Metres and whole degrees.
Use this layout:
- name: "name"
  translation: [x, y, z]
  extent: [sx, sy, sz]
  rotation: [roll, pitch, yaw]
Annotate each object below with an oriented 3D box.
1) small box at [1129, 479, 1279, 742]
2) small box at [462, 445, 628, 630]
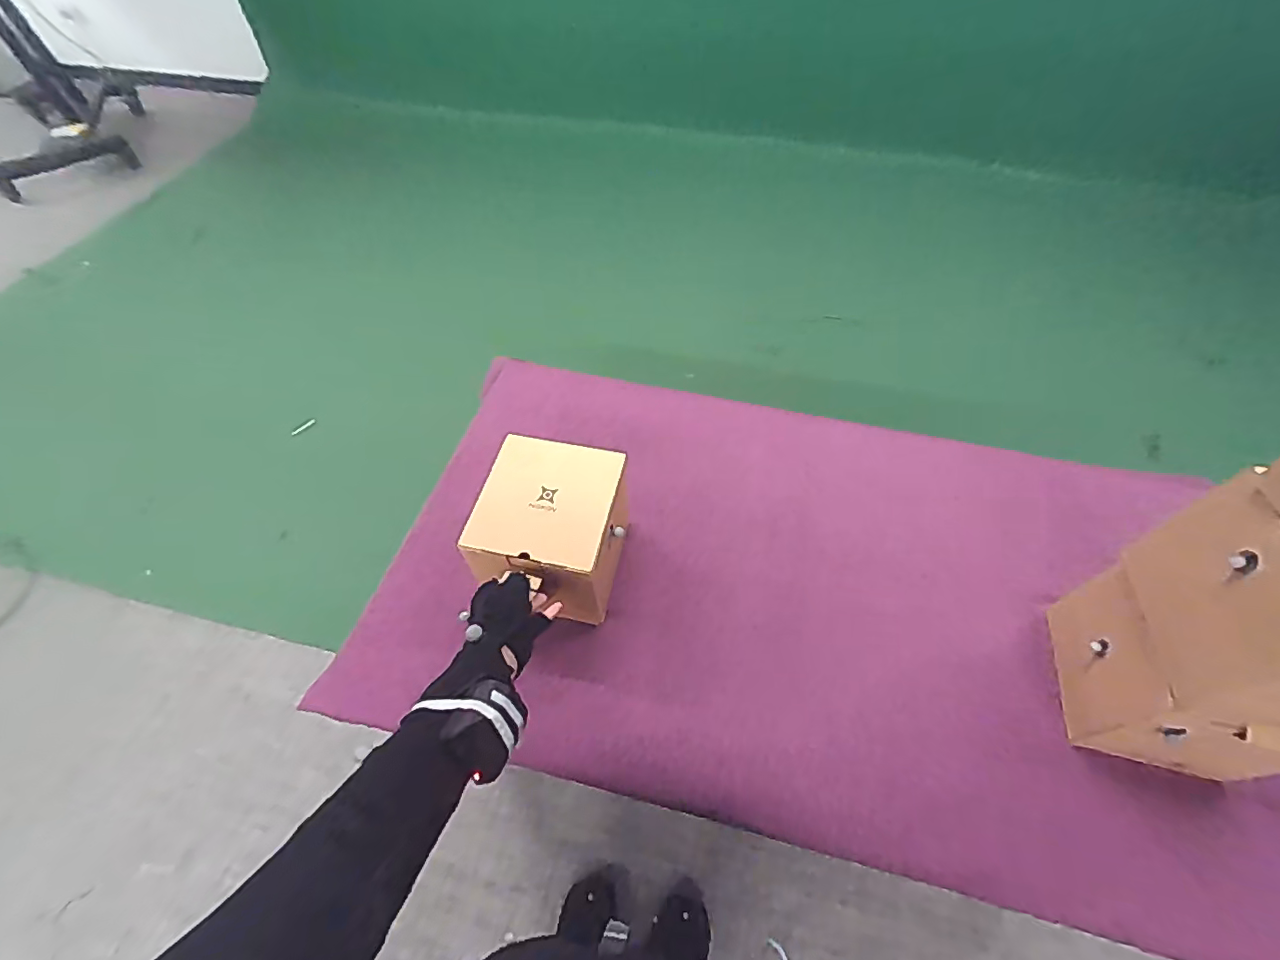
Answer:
- name: "small box"
  translation: [0.602, 0.126, 0.487]
  extent: [0.168, 0.176, 0.179]
  rotation: [8, 55, 8]
- name: "small box"
  translation: [-0.114, 0.081, 0.736]
  extent: [0.168, 0.176, 0.179]
  rotation: [10, 57, 7]
